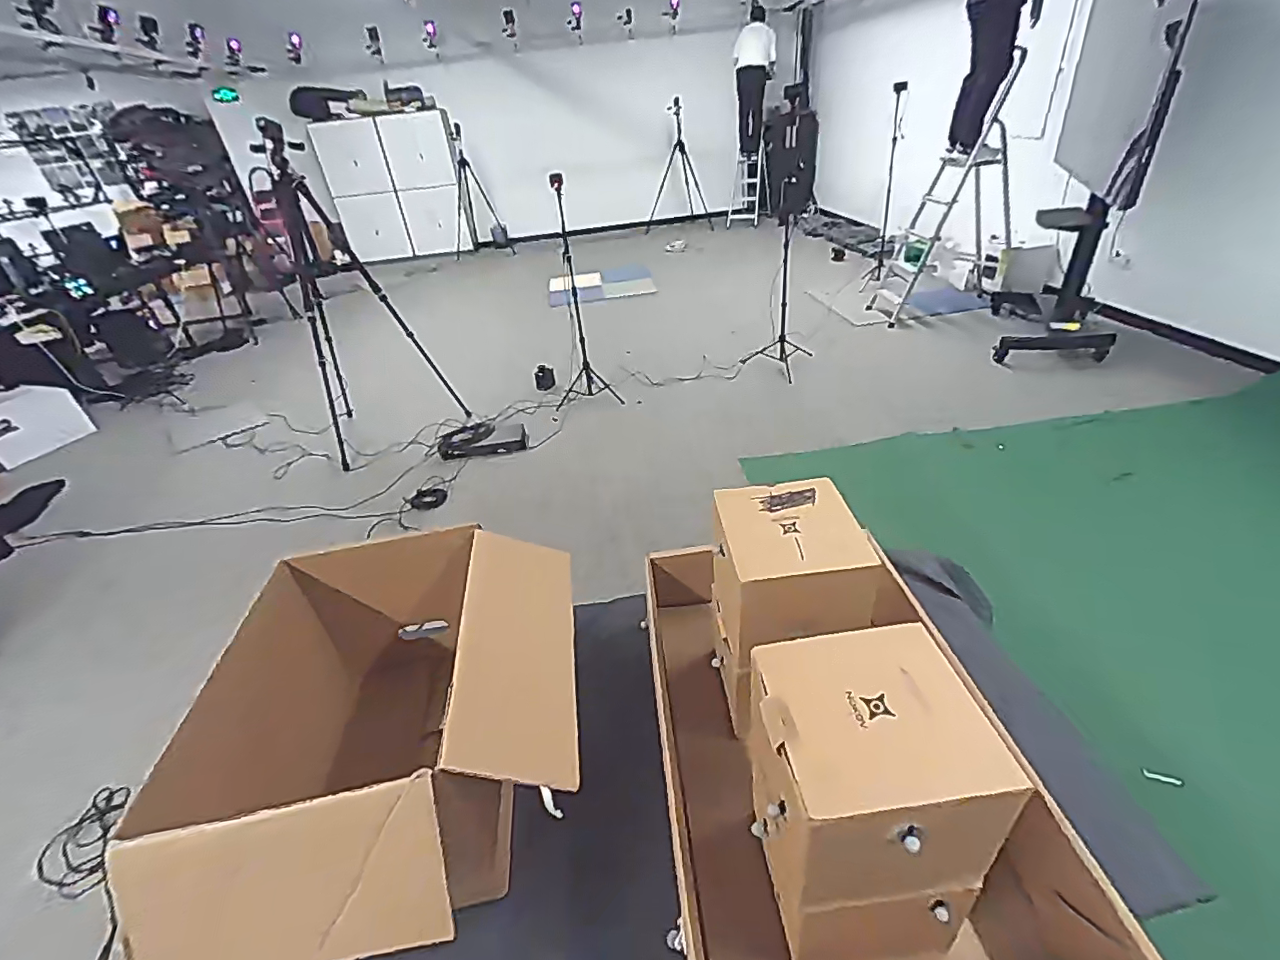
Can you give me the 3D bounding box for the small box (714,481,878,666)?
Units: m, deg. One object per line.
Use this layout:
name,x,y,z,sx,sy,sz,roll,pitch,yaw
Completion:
small box,0.194,0.124,0.733,0.168,0.176,0.179,-6,37,0

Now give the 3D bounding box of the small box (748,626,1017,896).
small box,0.209,0.270,0.525,0.179,0.176,0.168,-7,35,-2
